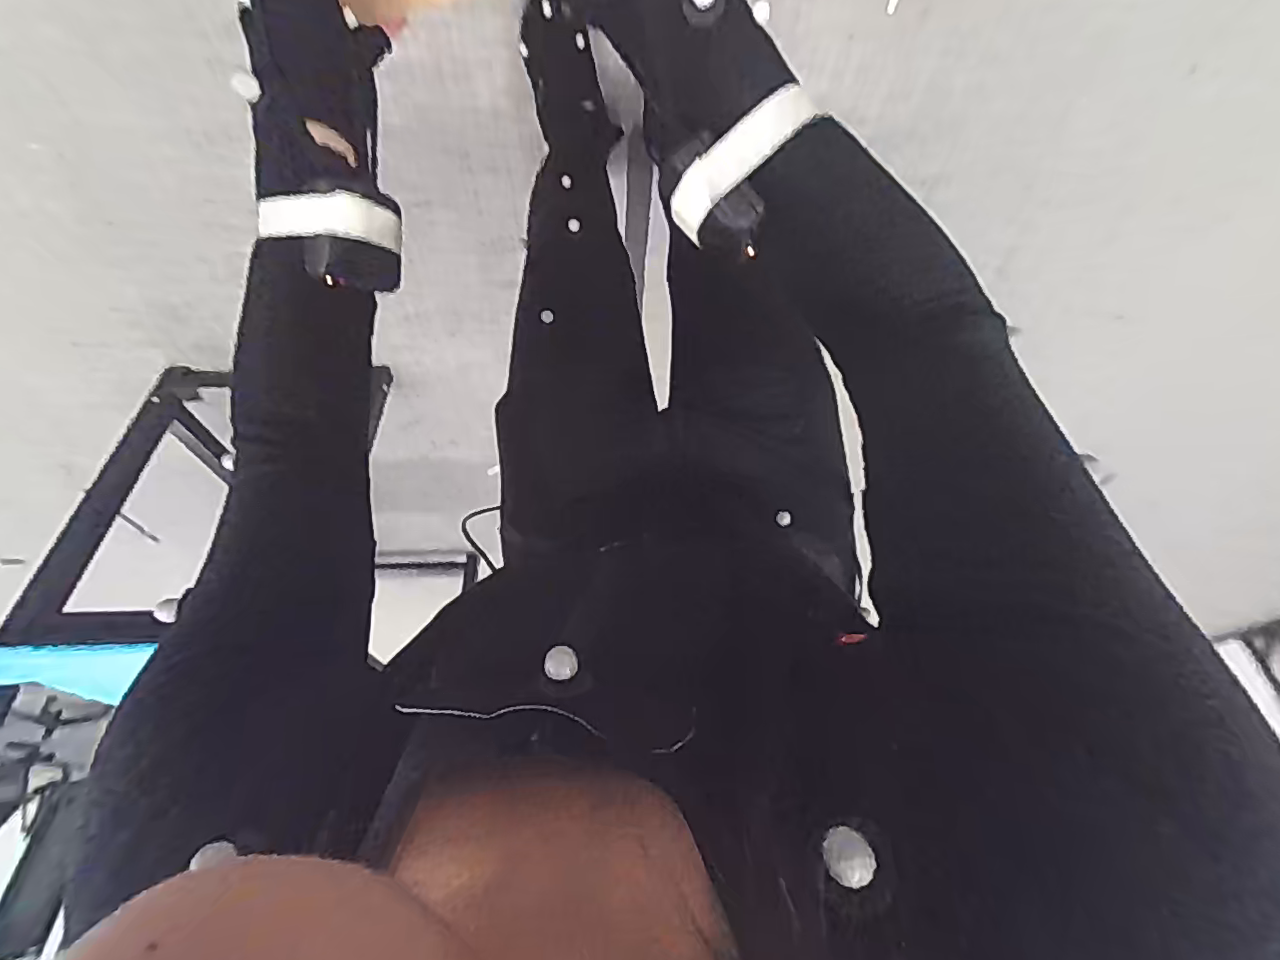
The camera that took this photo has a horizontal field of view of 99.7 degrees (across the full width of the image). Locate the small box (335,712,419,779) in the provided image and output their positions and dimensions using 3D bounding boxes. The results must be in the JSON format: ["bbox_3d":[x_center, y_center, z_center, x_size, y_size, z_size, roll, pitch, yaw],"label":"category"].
[{"bbox_3d":[-0.806,0.823,1.670,0.179,0.176,0.168,2,146,-7],"label":"small box"}]
